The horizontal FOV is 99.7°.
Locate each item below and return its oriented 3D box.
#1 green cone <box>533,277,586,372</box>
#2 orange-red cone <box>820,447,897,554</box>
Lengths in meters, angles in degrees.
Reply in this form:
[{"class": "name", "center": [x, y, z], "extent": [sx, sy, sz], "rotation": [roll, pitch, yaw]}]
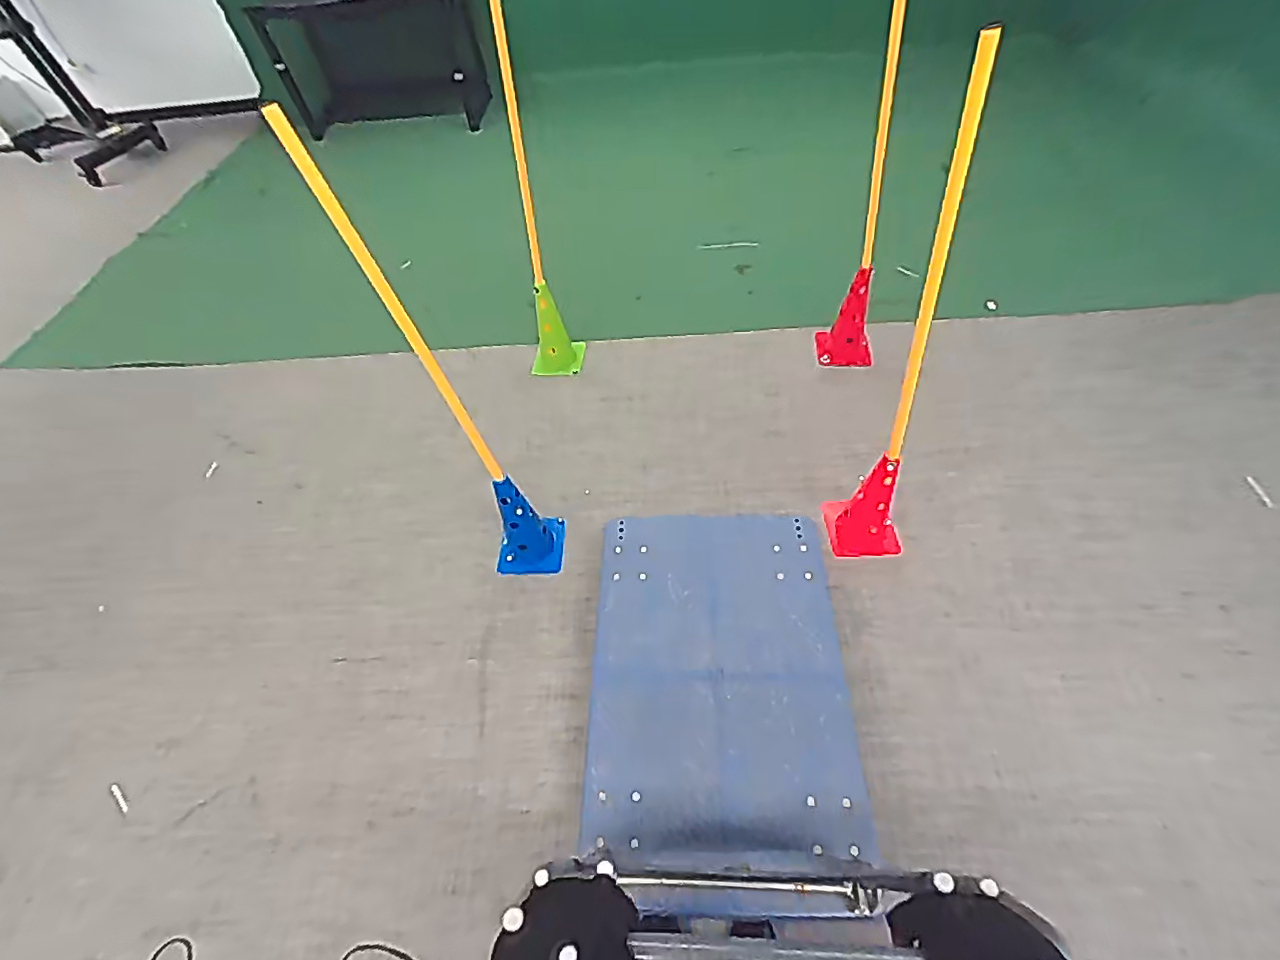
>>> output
[{"class": "green cone", "center": [-0.345, -0.618, 2.091], "extent": [0.202, 0.368, 0.200], "rotation": [1, 53, 7]}, {"class": "orange-red cone", "center": [0.649, 0.035, 1.519], "extent": [0.199, 0.360, 0.198], "rotation": [-4, 53, 5]}]
